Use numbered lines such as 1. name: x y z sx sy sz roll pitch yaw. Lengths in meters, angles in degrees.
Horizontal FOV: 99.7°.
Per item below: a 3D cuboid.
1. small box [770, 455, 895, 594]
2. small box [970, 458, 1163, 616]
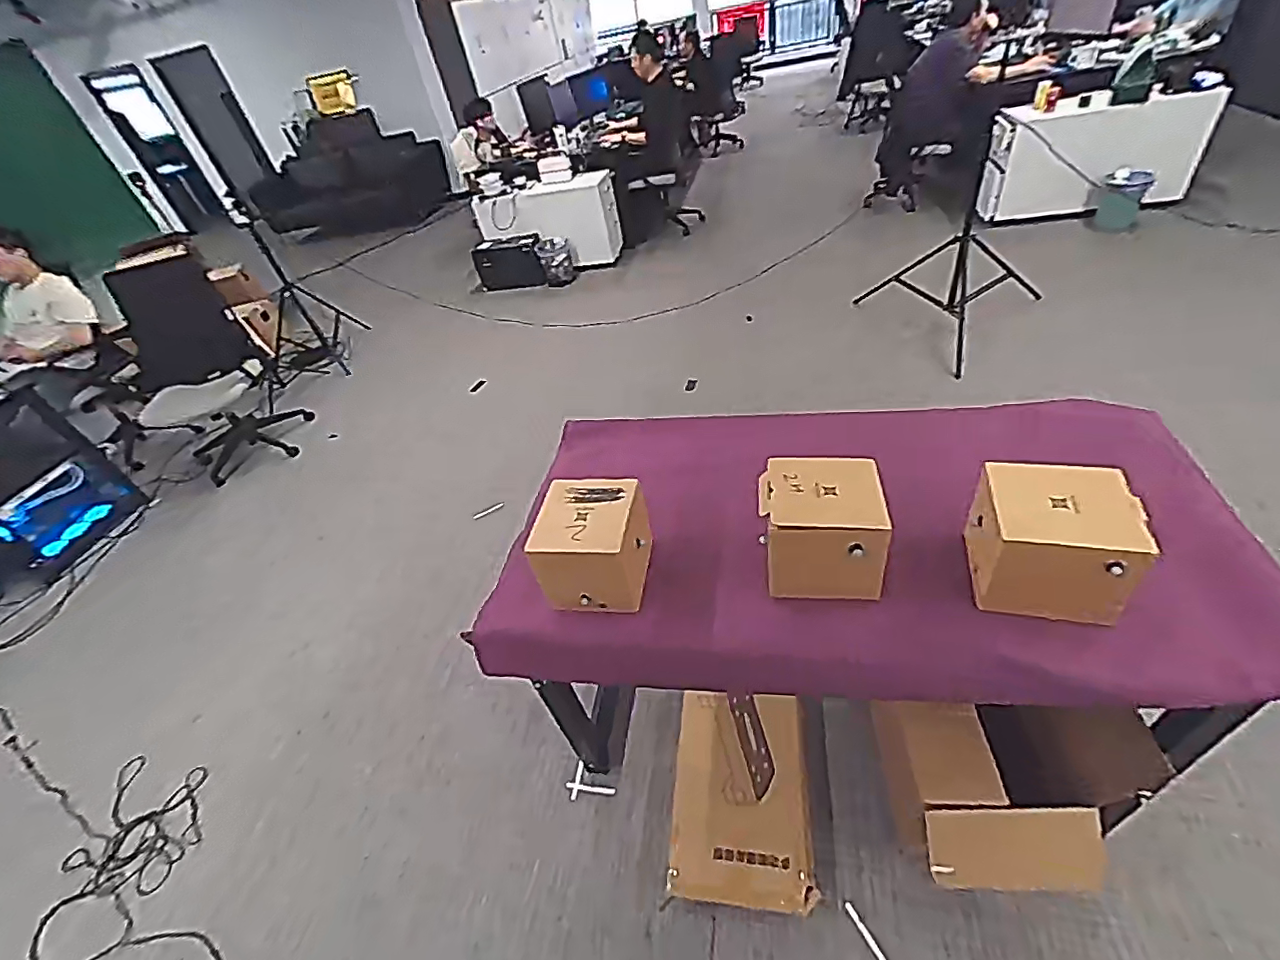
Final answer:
1. small box: 0.309 0.075 0.904 0.179 0.176 0.168 -1 40 14
2. small box: 0.614 0.085 0.812 0.179 0.176 0.168 4 44 19
